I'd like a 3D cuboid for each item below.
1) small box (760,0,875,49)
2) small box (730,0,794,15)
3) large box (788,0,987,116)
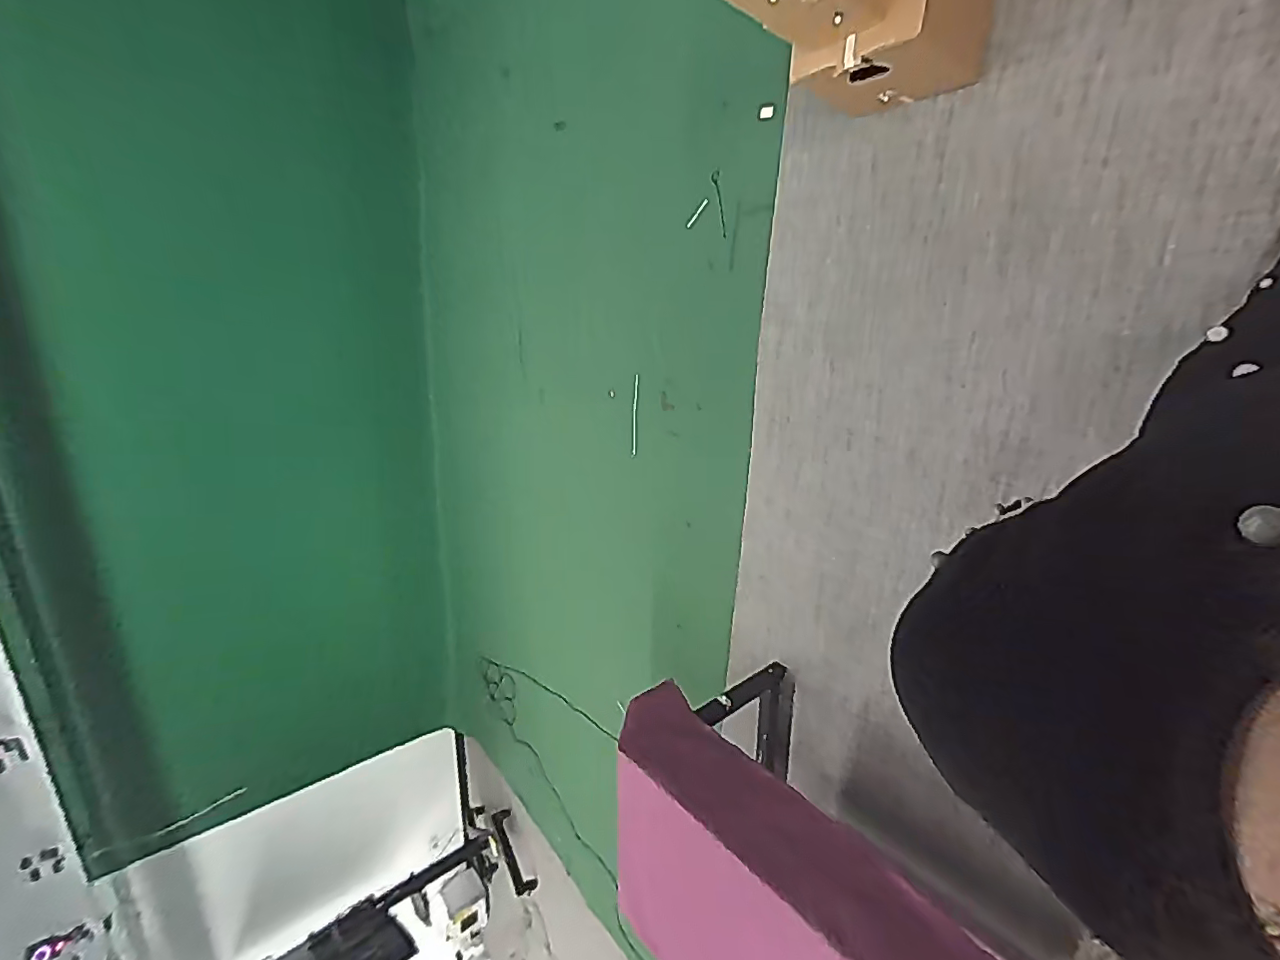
[{"bbox_3d":[0.370,-1.023,1.095,0.179,0.176,0.168,19,113,48],"label":"small box"},{"bbox_3d":[0.246,-1.004,0.990,0.168,0.176,0.179,12,107,49],"label":"small box"},{"bbox_3d":[0.569,-1.124,1.216,0.320,0.320,0.408,20,113,47],"label":"large box"}]
